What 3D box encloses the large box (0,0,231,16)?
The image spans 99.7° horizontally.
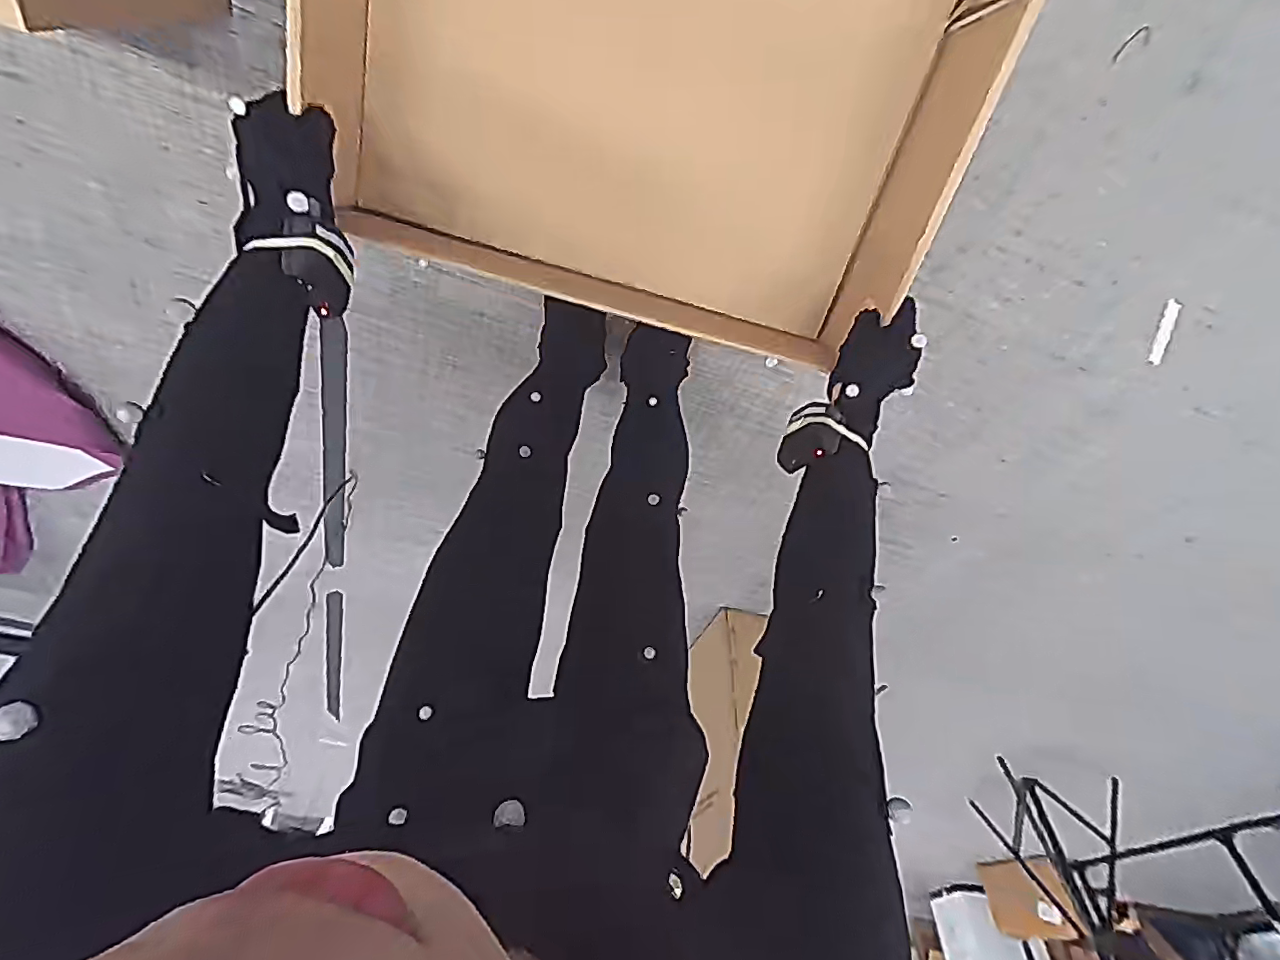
[{"bbox_3d":[-0.679,-0.664,0.463,0.408,0.320,0.320,13,133,-10],"label":"large box"}]
